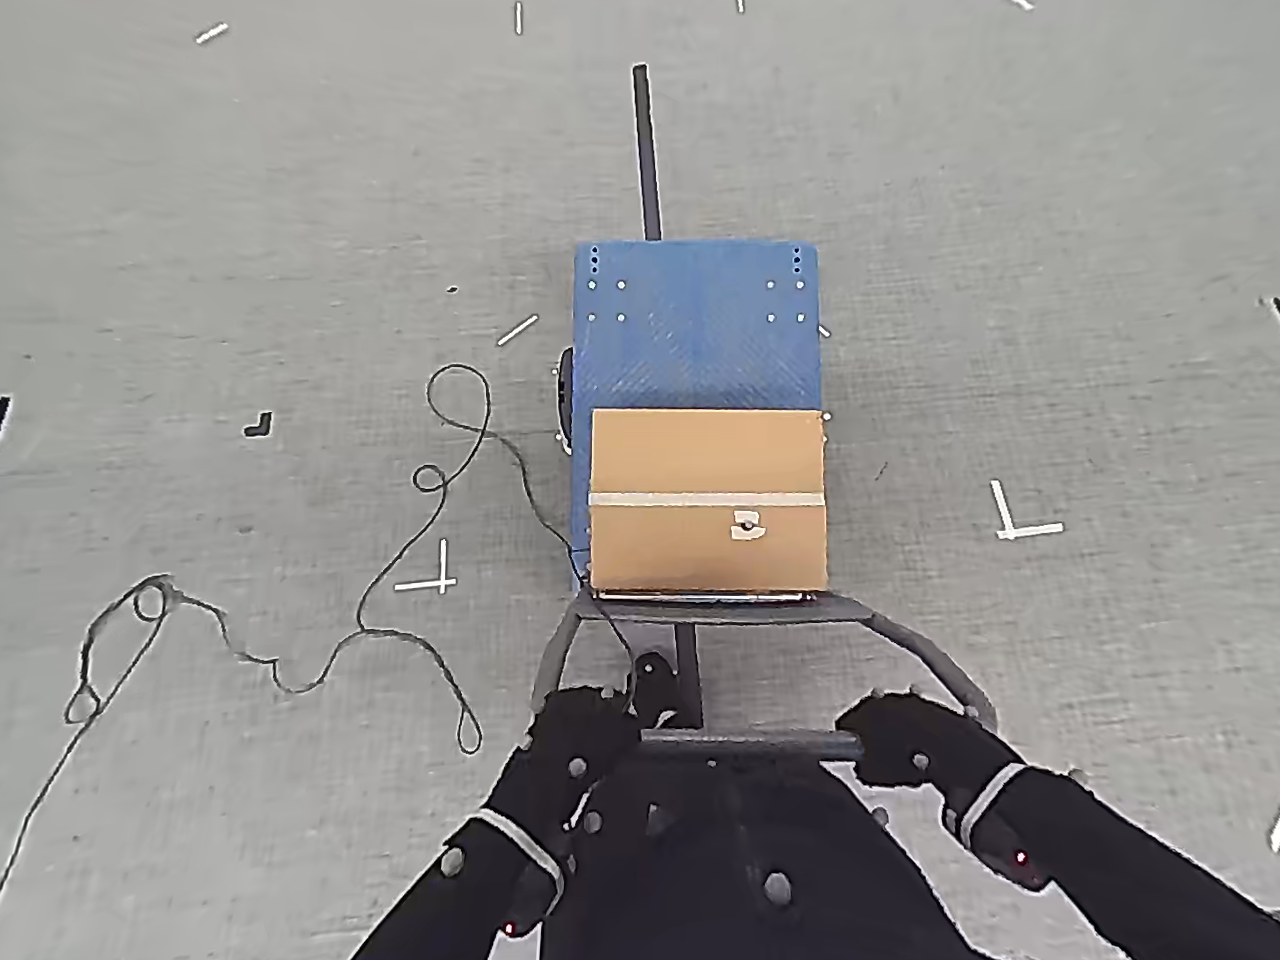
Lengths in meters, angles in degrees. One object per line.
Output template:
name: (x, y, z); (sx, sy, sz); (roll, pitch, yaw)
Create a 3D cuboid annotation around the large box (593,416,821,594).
large box: (0.113, 0.054, 1.102); (0.408, 0.320, 0.320); (0, 86, -1)
